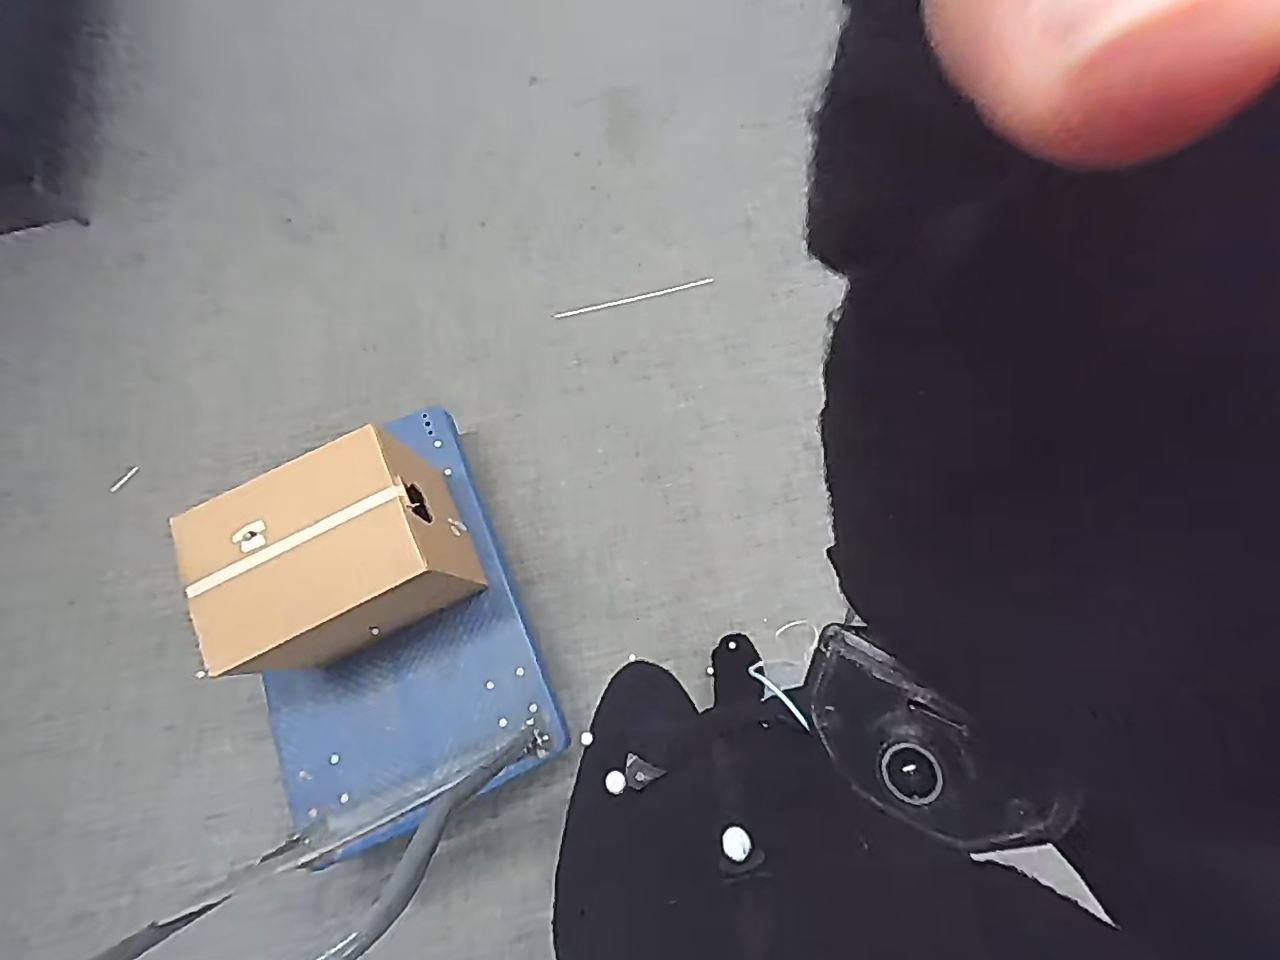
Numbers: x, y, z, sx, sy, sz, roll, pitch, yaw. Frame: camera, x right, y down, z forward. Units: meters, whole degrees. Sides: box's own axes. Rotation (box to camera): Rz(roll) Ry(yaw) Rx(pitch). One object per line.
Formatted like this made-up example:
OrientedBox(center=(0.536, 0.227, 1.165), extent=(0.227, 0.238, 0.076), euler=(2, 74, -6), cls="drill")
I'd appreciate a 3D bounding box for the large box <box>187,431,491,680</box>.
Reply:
OrientedBox(center=(-0.588, 0.162, 1.117), extent=(0.408, 0.320, 0.320), euler=(-27, 73, -2), cls="large box")
